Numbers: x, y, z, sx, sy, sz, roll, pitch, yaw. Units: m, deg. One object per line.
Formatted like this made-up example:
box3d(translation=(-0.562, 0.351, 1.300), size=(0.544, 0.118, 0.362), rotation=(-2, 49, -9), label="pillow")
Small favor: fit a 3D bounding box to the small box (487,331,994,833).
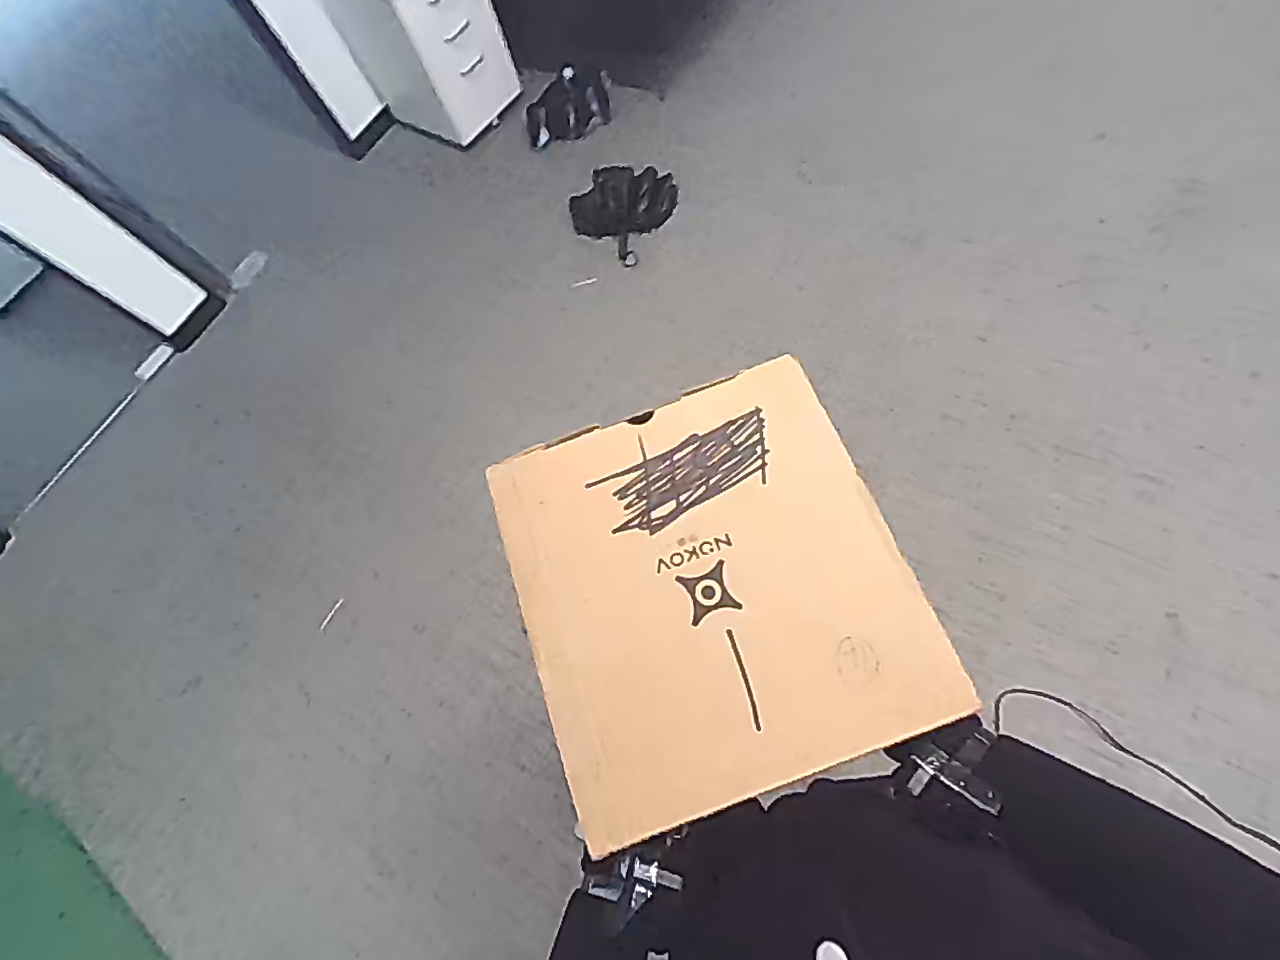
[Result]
box3d(translation=(0.037, 0.056, 0.302), size=(0.168, 0.176, 0.179), rotation=(-20, 69, 0), label="small box")
